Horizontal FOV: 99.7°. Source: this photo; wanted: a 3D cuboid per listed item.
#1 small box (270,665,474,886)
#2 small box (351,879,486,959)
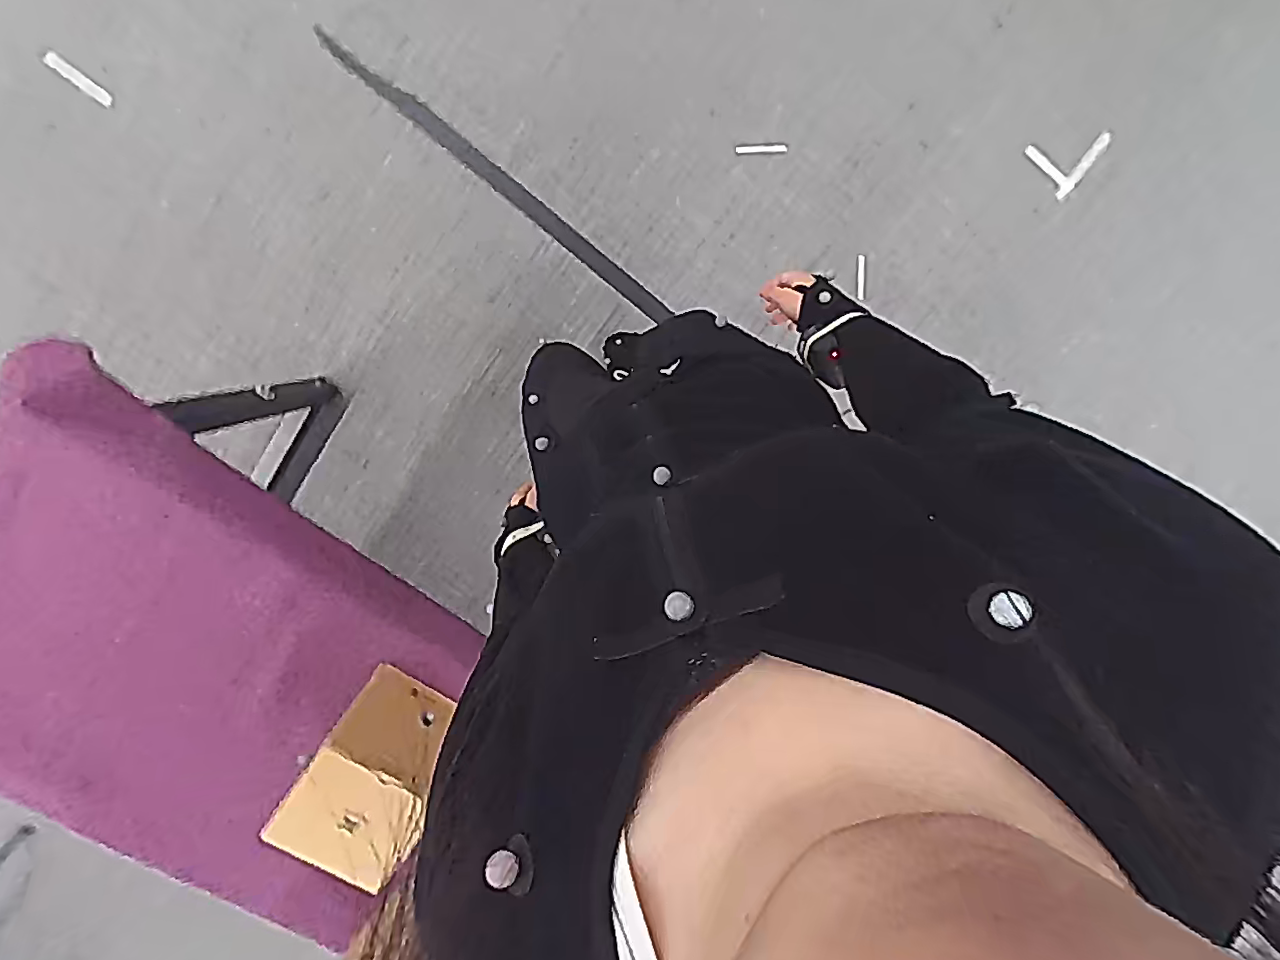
[{"bbox_3d":[-0.359,0.403,0.760,0.168,0.176,0.179,35,102,-10],"label":"small box"},{"bbox_3d":[-0.367,0.793,0.862,0.168,0.176,0.179,38,100,-10],"label":"small box"}]
